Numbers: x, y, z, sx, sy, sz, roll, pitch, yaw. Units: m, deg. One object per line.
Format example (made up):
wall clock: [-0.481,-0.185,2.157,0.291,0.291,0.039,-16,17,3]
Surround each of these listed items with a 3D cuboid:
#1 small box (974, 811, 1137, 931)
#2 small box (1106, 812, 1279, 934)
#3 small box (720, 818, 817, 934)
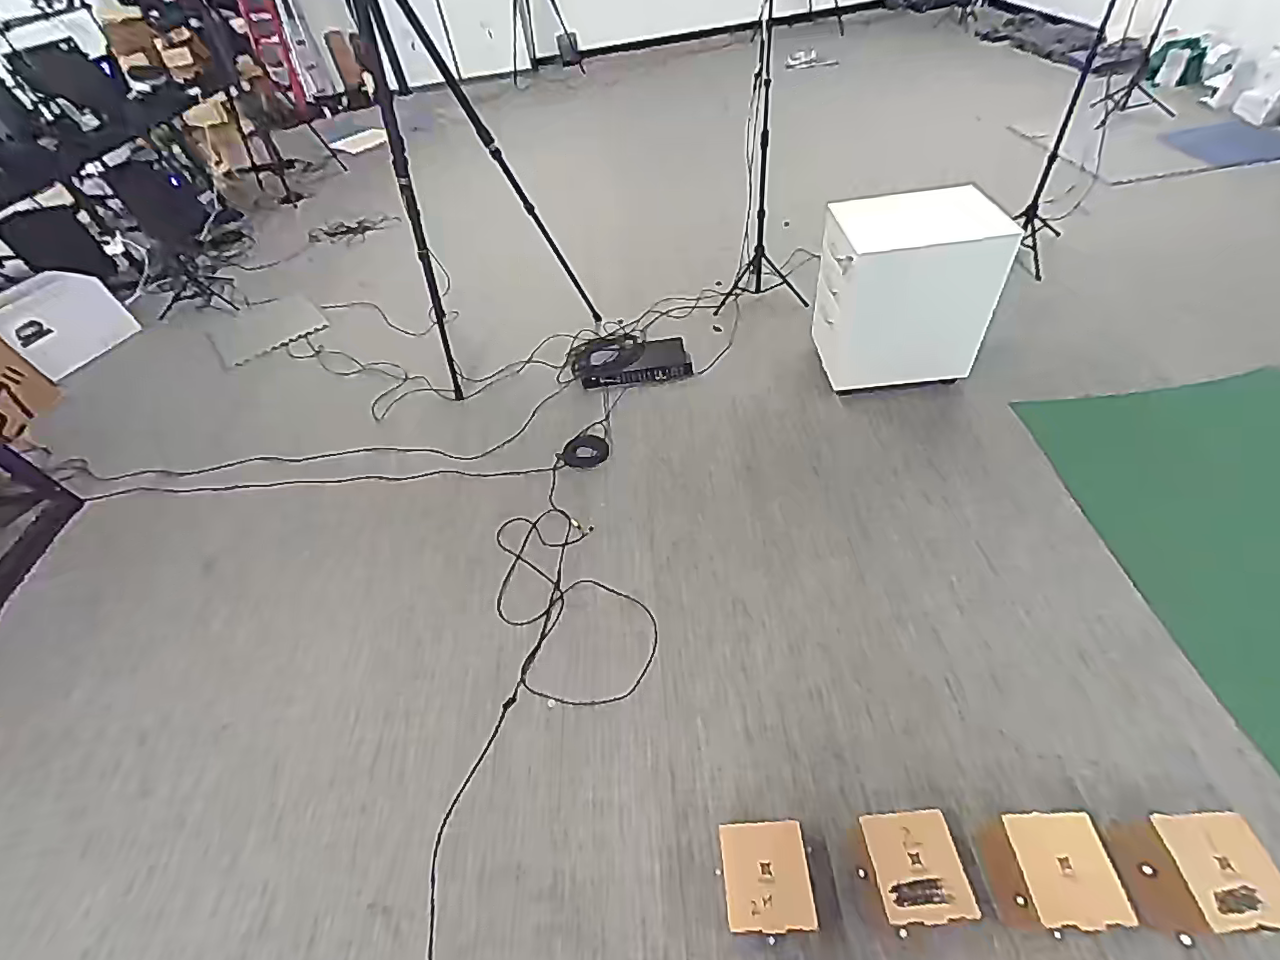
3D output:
small box: [0.799,0.773,1.067,0.168,0.176,0.179,-5,49,4]
small box: [1.066,0.758,1.039,0.168,0.176,0.179,-5,47,4]
small box: [0.253,0.815,1.112,0.168,0.176,0.179,-6,48,5]
